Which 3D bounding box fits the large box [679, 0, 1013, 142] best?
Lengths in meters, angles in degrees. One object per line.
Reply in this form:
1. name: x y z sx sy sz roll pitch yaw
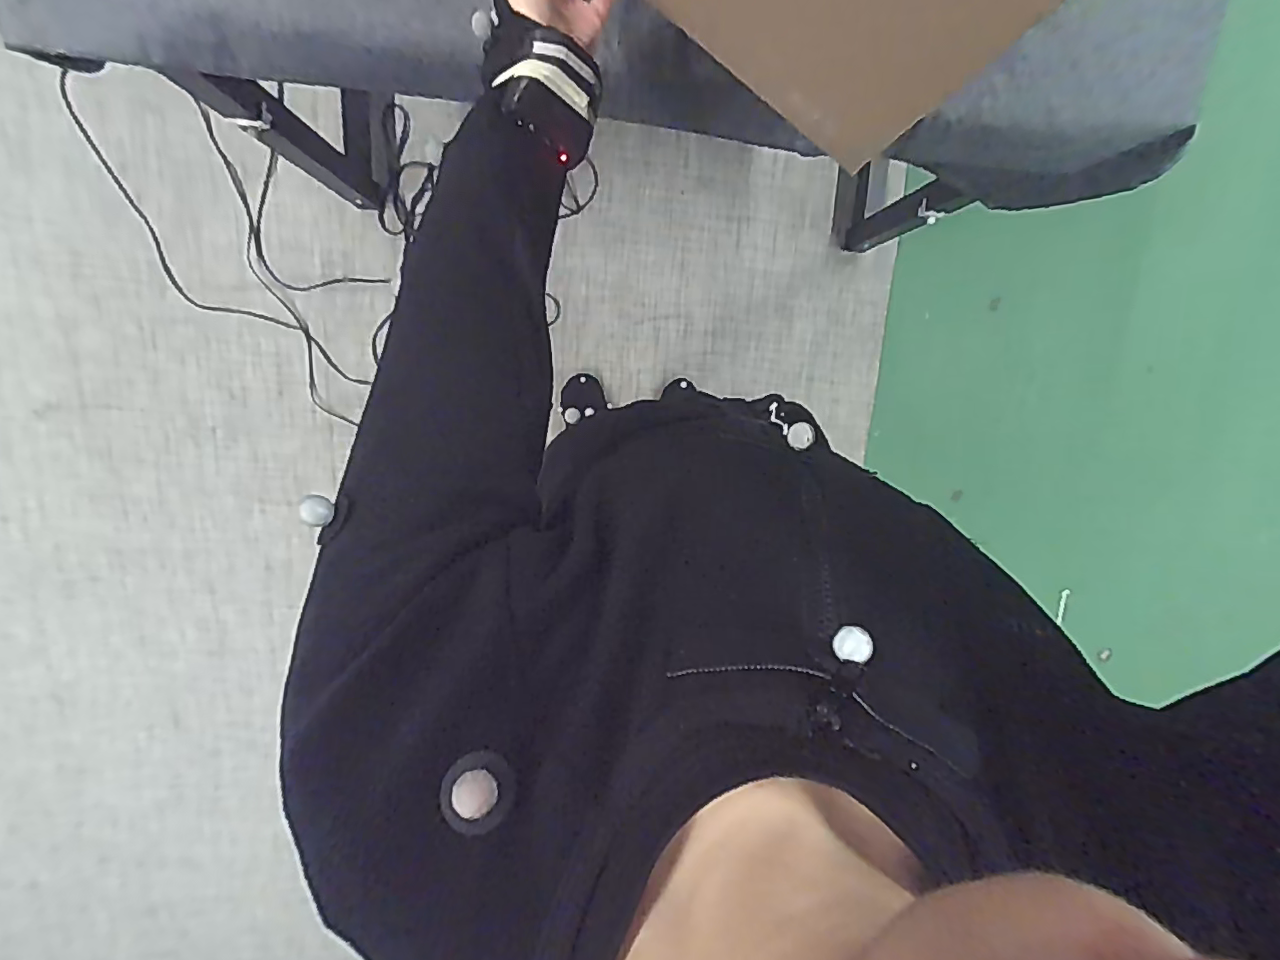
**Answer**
1. large box: 0.116 -0.410 0.213 0.320 0.408 0.320 36 113 -7
